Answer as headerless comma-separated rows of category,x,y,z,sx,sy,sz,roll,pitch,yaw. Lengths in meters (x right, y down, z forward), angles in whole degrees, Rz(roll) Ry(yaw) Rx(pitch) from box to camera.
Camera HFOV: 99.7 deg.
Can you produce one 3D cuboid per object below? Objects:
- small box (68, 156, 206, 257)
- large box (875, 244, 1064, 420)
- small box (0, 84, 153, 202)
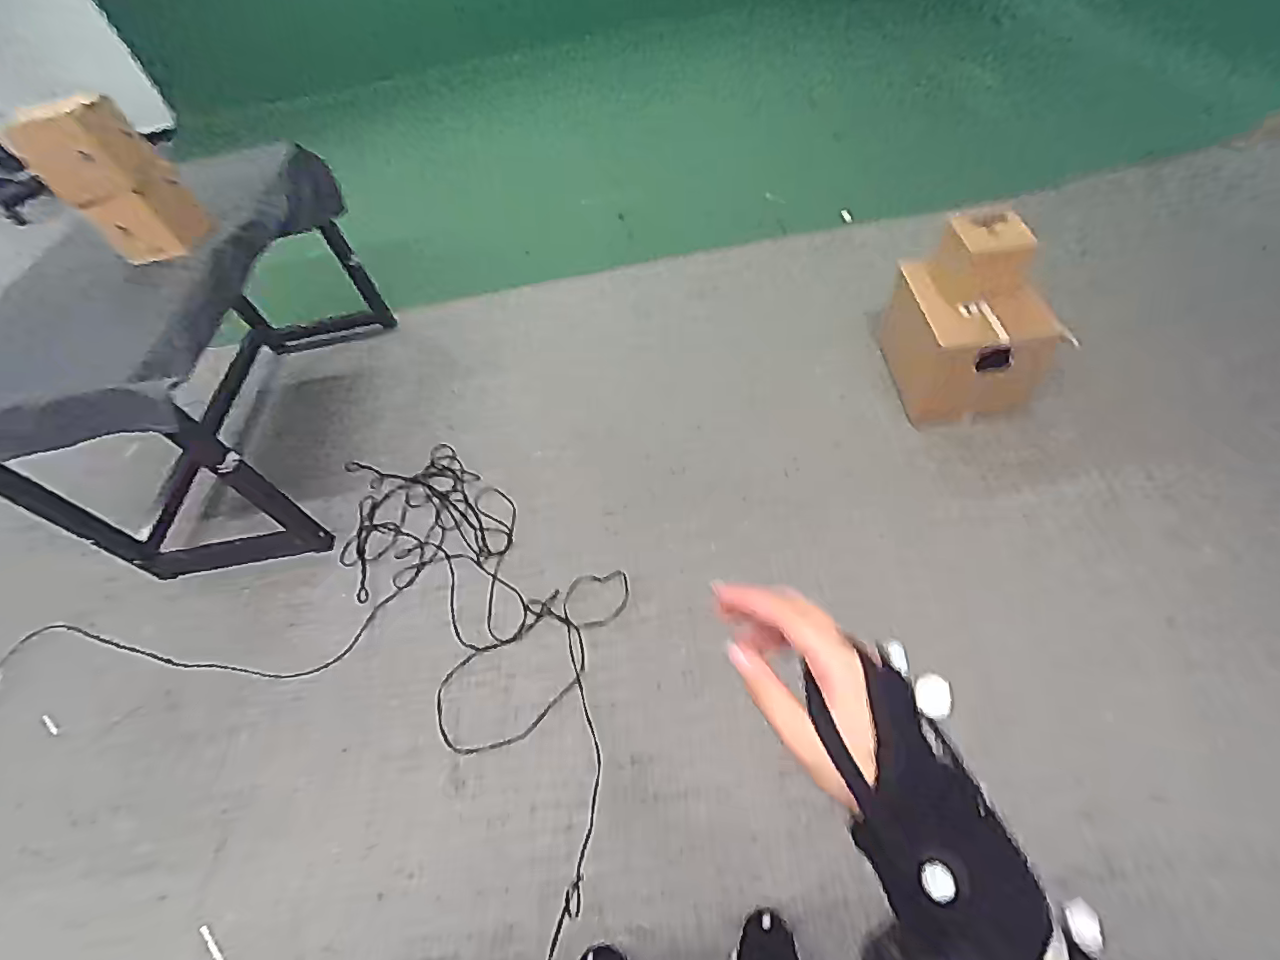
small box,-1.287,-0.699,1.402,0.168,0.176,0.179,-8,53,5
large box,0.950,-0.443,1.633,0.320,0.320,0.408,-6,55,7
small box,-1.313,-0.786,1.267,0.179,0.176,0.168,-14,51,2
